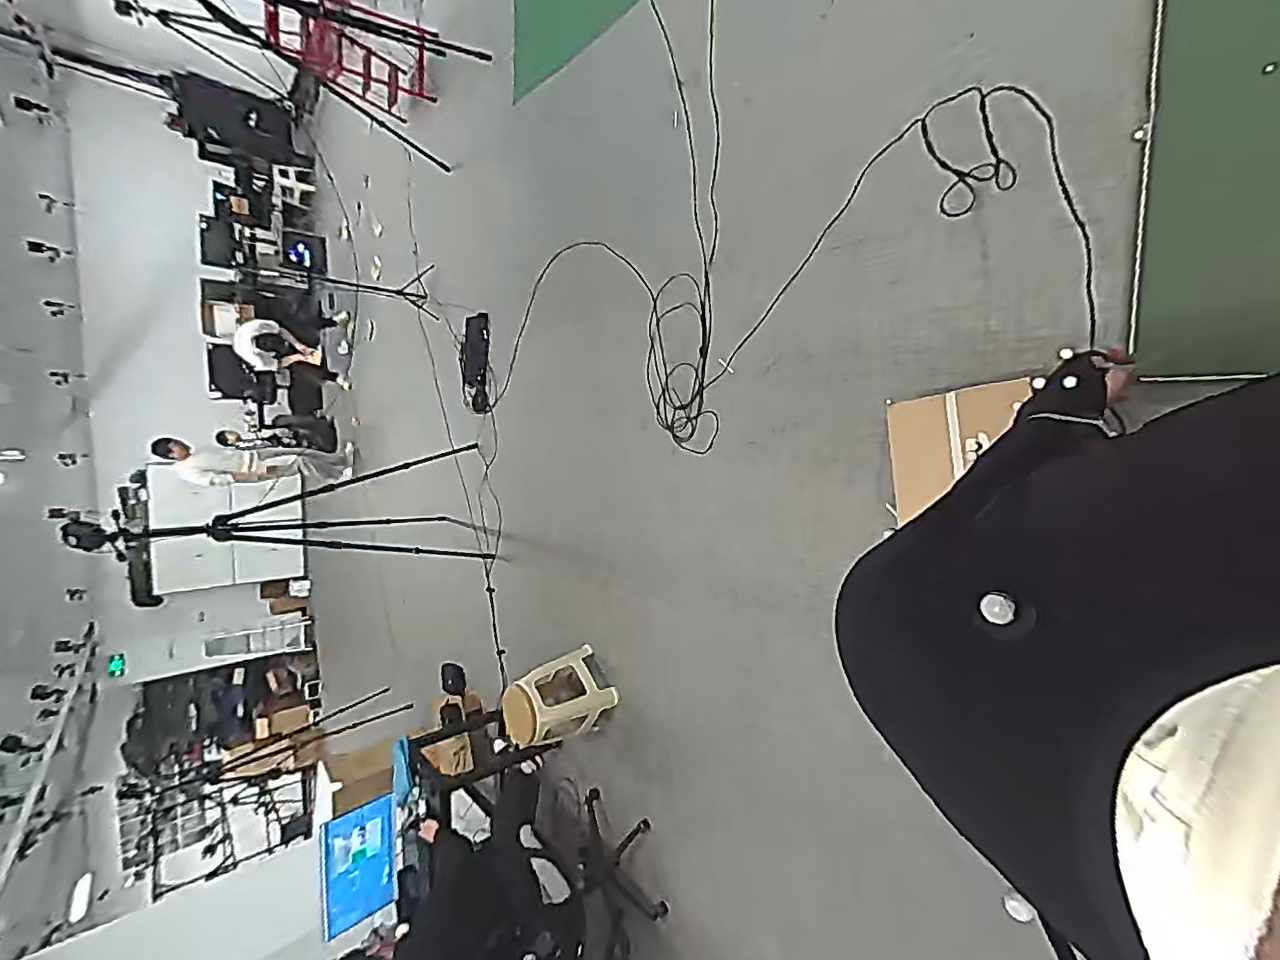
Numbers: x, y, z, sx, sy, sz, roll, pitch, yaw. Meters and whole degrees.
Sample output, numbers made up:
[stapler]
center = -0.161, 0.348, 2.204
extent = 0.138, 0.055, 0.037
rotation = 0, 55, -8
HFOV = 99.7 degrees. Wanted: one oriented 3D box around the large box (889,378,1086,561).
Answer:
[large box]
center = 0.871, -0.011, 1.361
extent = 0.320, 0.320, 0.408
rotation = -8, 85, 49
